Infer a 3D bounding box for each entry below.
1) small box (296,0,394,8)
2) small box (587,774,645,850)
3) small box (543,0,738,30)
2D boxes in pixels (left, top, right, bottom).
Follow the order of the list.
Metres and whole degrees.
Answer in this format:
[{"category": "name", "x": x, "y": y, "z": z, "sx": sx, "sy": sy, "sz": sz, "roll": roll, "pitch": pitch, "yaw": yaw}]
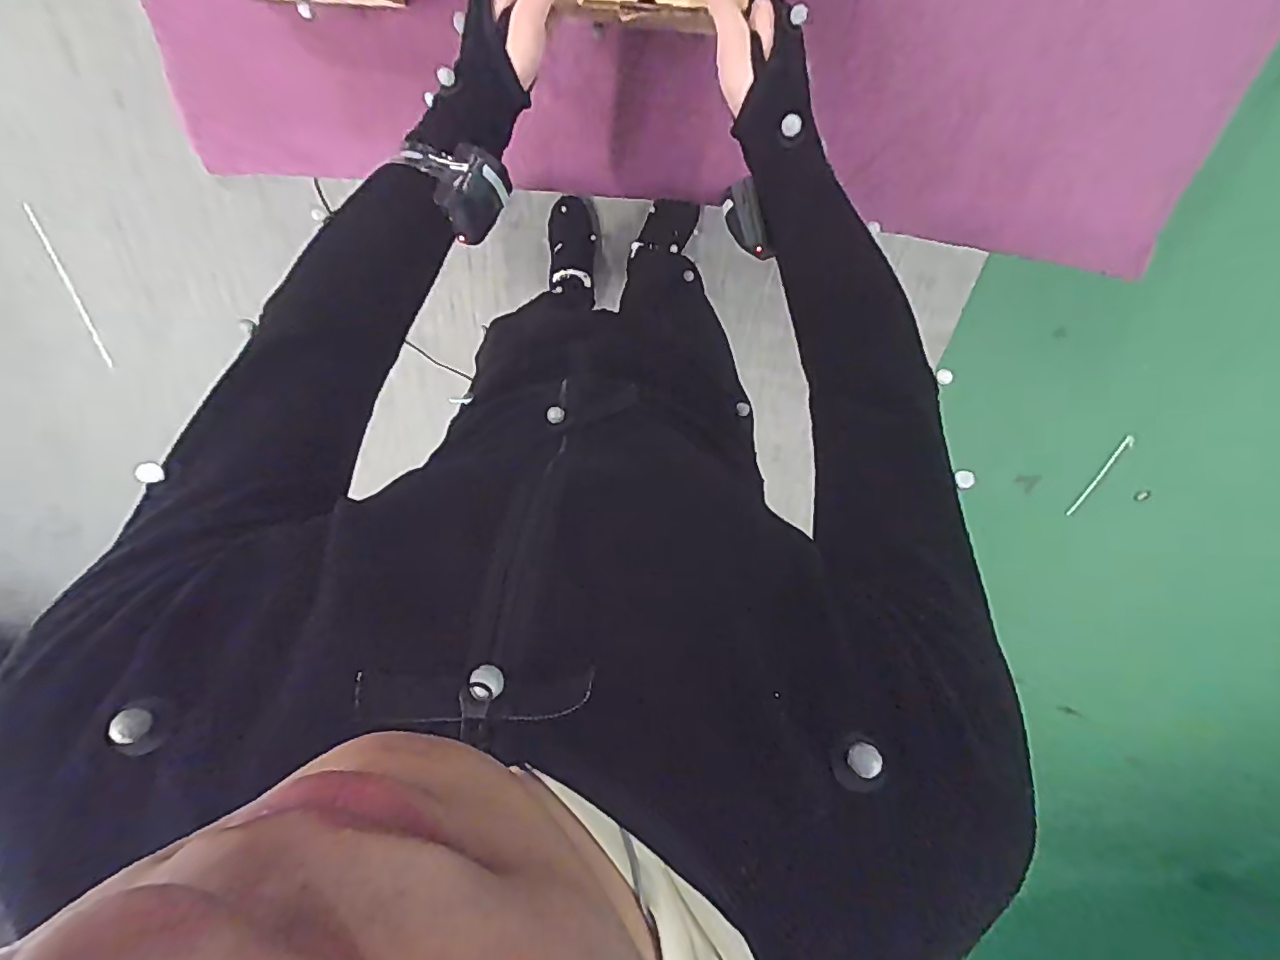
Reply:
[{"category": "small box", "x": -0.340, "y": -0.543, "z": 0.472, "sx": 0.168, "sy": 0.176, "sz": 0.179, "roll": 5, "pitch": 126, "yaw": 1}, {"category": "small box", "x": -0.082, "y": 1.139, "z": 1.862, "sx": 0.179, "sy": 0.176, "sz": 0.168, "roll": 7, "pitch": 126, "yaw": 1}, {"category": "small box", "x": 0.006, "y": -0.499, "z": 0.451, "sx": 0.168, "sy": 0.176, "sz": 0.179, "roll": 3, "pitch": 125, "yaw": -1}]
